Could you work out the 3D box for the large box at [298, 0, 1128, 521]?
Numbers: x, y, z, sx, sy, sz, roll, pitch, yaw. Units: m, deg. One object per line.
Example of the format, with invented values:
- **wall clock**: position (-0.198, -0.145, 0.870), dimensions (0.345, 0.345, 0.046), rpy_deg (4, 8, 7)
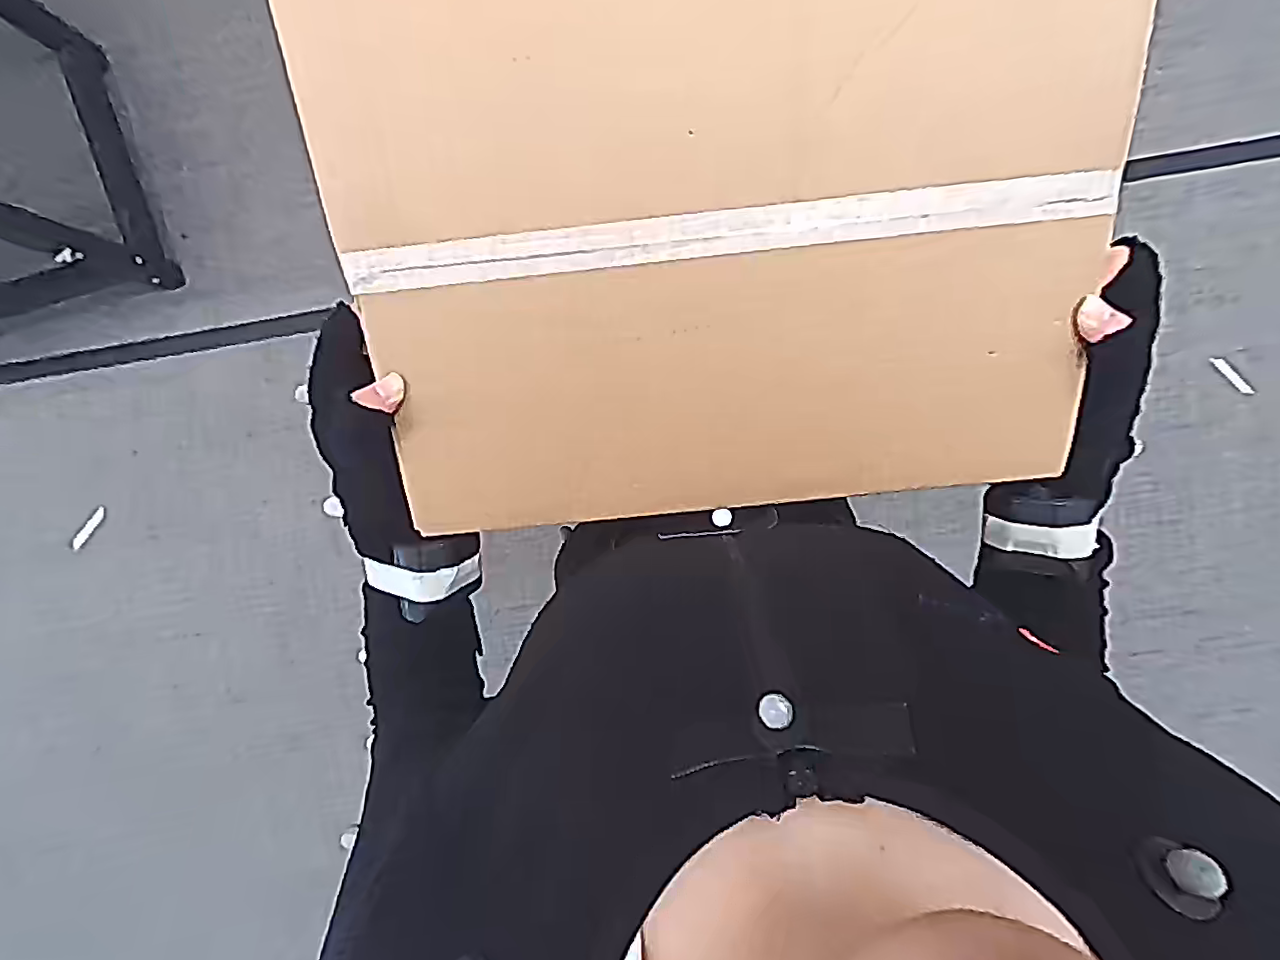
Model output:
- **large box**: position (0.042, -0.187, 0.434), dimensions (0.408, 0.320, 0.320), rpy_deg (-6, 112, 0)
